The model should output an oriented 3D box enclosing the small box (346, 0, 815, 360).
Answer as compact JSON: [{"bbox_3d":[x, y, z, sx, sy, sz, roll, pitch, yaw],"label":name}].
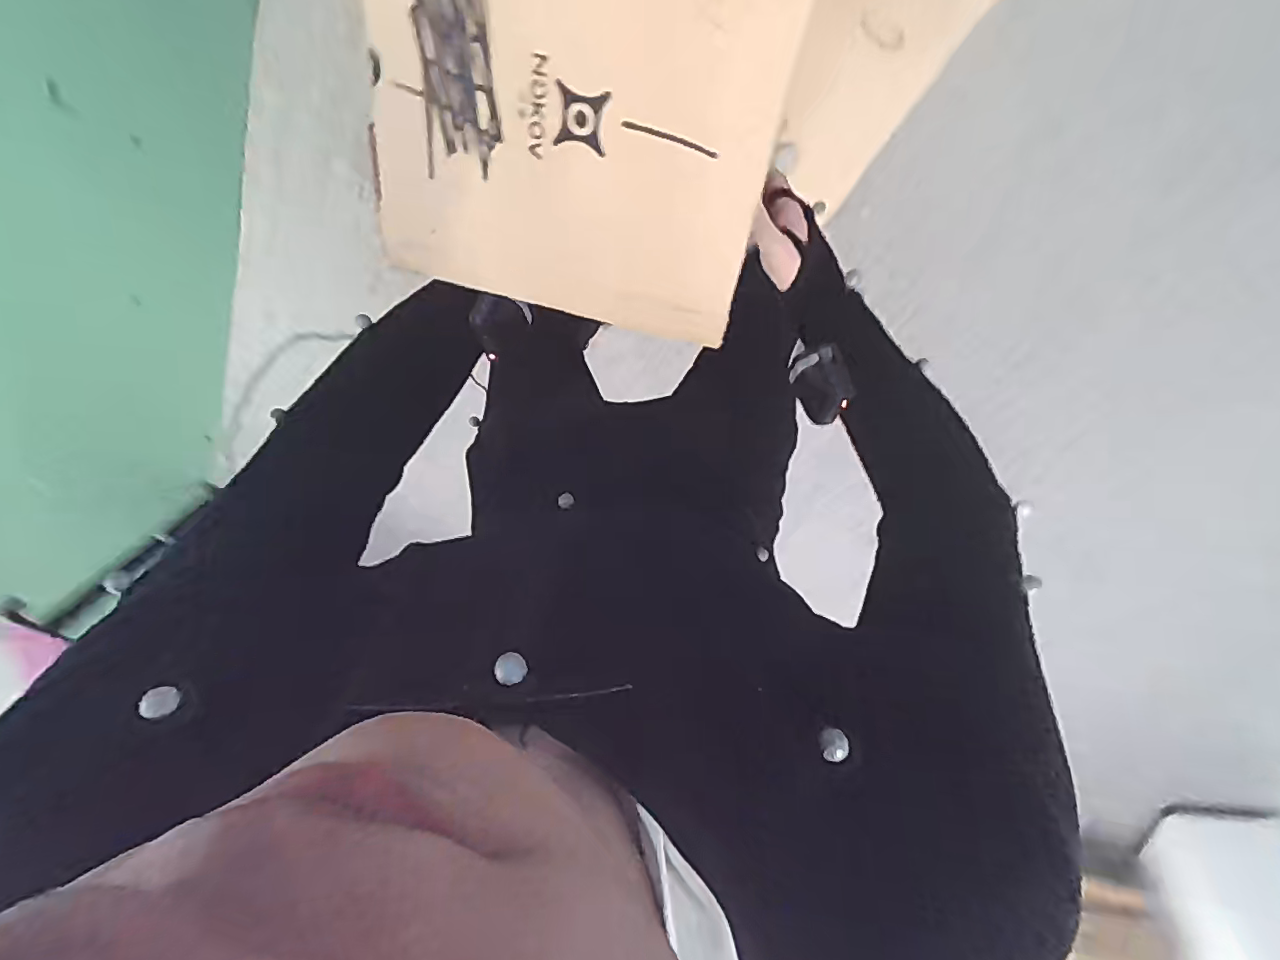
[{"bbox_3d":[-0.018,-0.188,0.283,0.179,0.176,0.168,15,128,3],"label":"small box"}]
